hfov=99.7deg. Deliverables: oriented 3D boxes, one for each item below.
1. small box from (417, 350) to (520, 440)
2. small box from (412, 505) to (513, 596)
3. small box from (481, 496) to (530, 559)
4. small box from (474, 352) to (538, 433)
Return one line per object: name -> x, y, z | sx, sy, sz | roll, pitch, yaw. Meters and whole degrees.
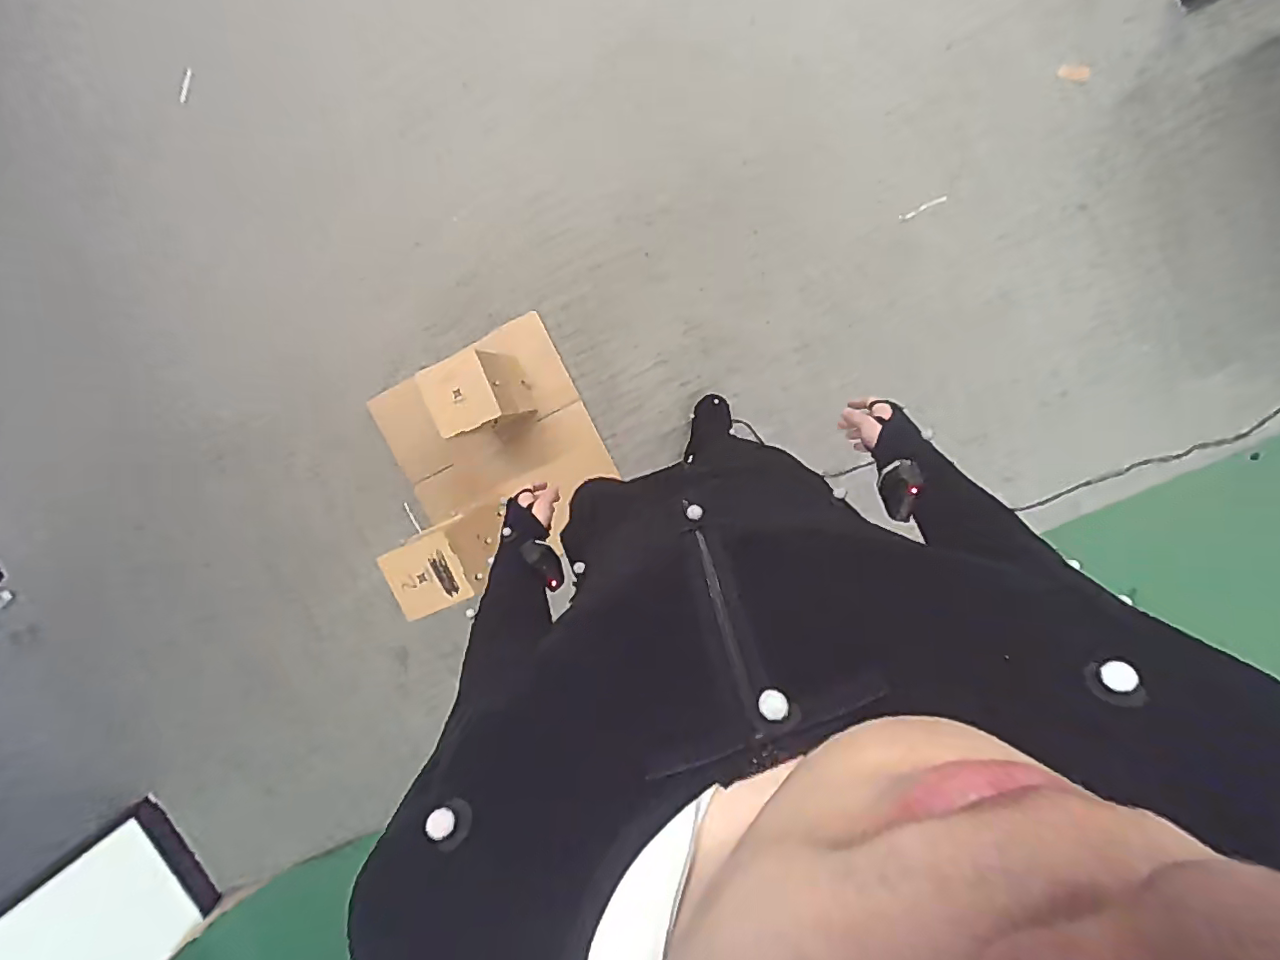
small box -> -0.429, -0.219, 1.386 | 0.168, 0.176, 0.179 | -21, 97, 7
small box -> -0.467, 0.179, 1.452 | 0.168, 0.176, 0.179 | -25, 97, 7
small box -> -0.452, 0.160, 1.612 | 0.168, 0.176, 0.179 | -25, 96, 8
small box -> -0.414, -0.248, 1.546 | 0.168, 0.176, 0.179 | -23, 97, 8
